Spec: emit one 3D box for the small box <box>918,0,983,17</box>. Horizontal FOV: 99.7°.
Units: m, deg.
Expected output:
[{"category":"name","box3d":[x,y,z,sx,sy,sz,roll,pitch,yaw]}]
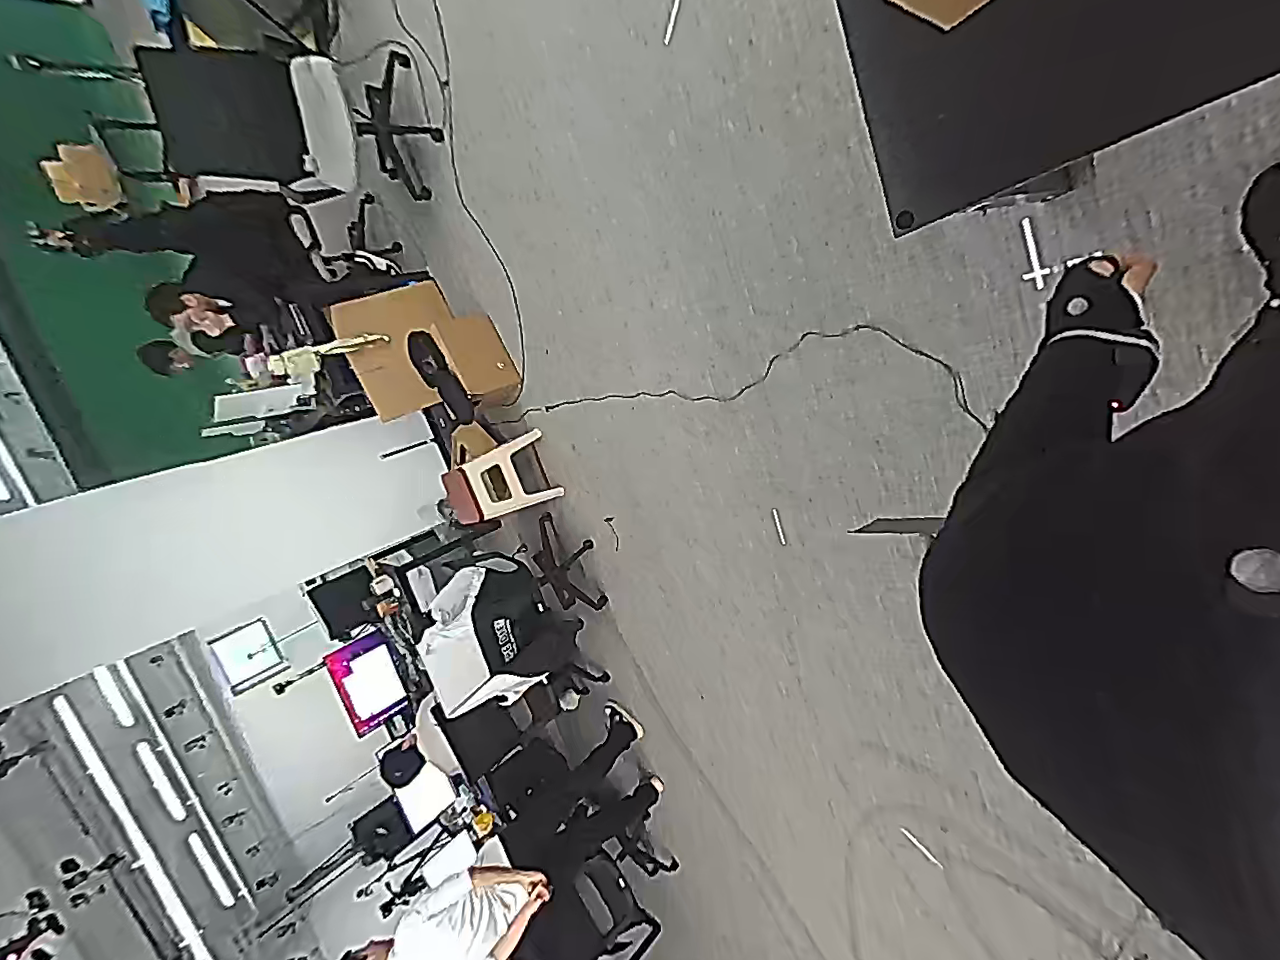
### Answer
[{"category":"small box","box3d":[0.297,-0.554,0.465,0.168,0.176,0.179,-11,103,51]}]
